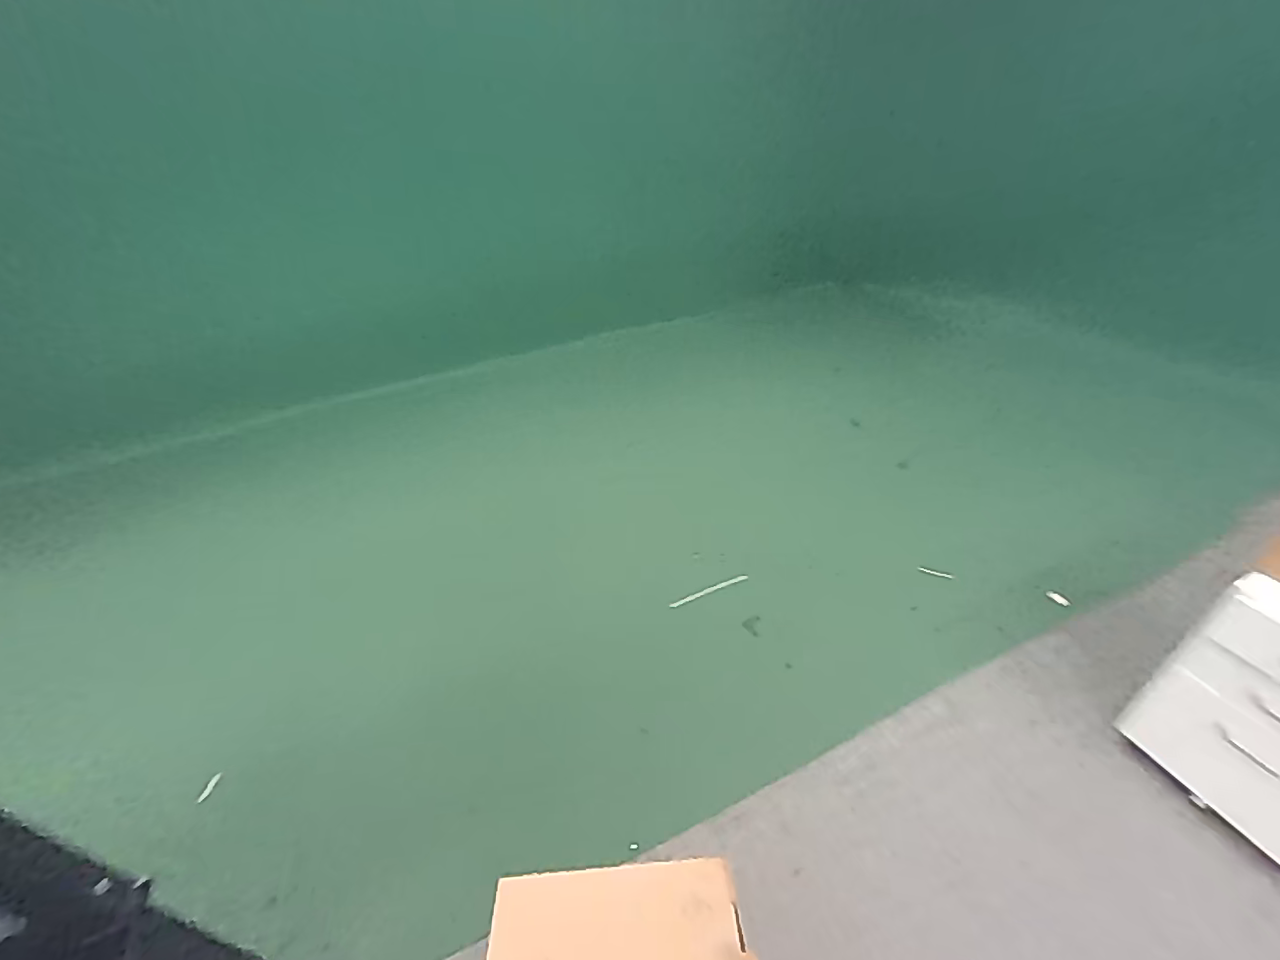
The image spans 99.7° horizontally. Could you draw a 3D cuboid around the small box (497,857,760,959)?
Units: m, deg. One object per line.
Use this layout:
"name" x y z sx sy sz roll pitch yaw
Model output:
"small box" 0.000 0.396 0.370 0.179 0.176 0.168 -7 28 2
